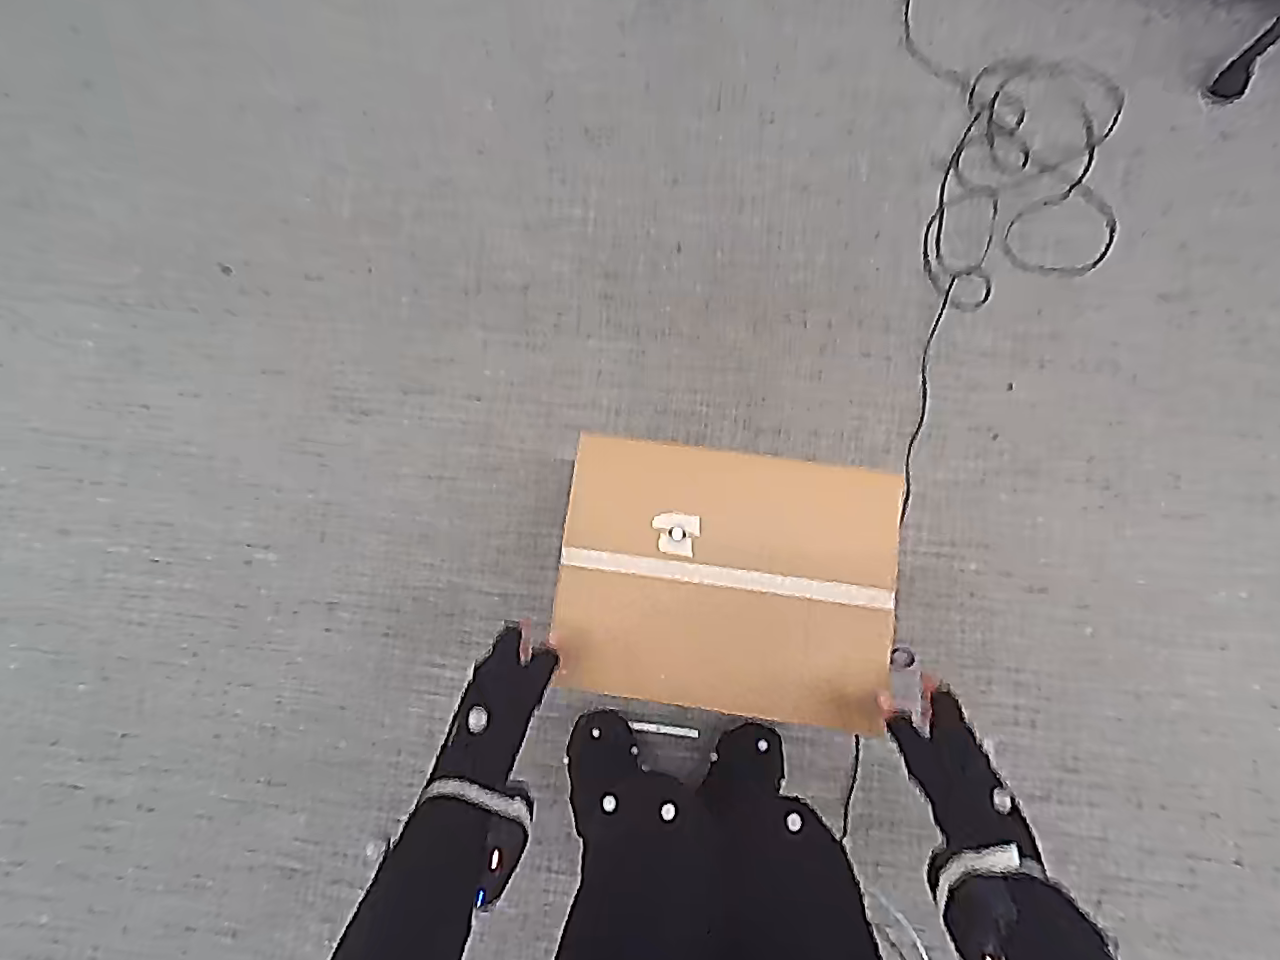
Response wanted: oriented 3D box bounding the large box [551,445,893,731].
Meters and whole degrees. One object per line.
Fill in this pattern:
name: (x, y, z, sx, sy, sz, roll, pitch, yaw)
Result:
large box: (0.113, 0.146, 0.820, 0.408, 0.320, 0.320, 8, 82, 4)
